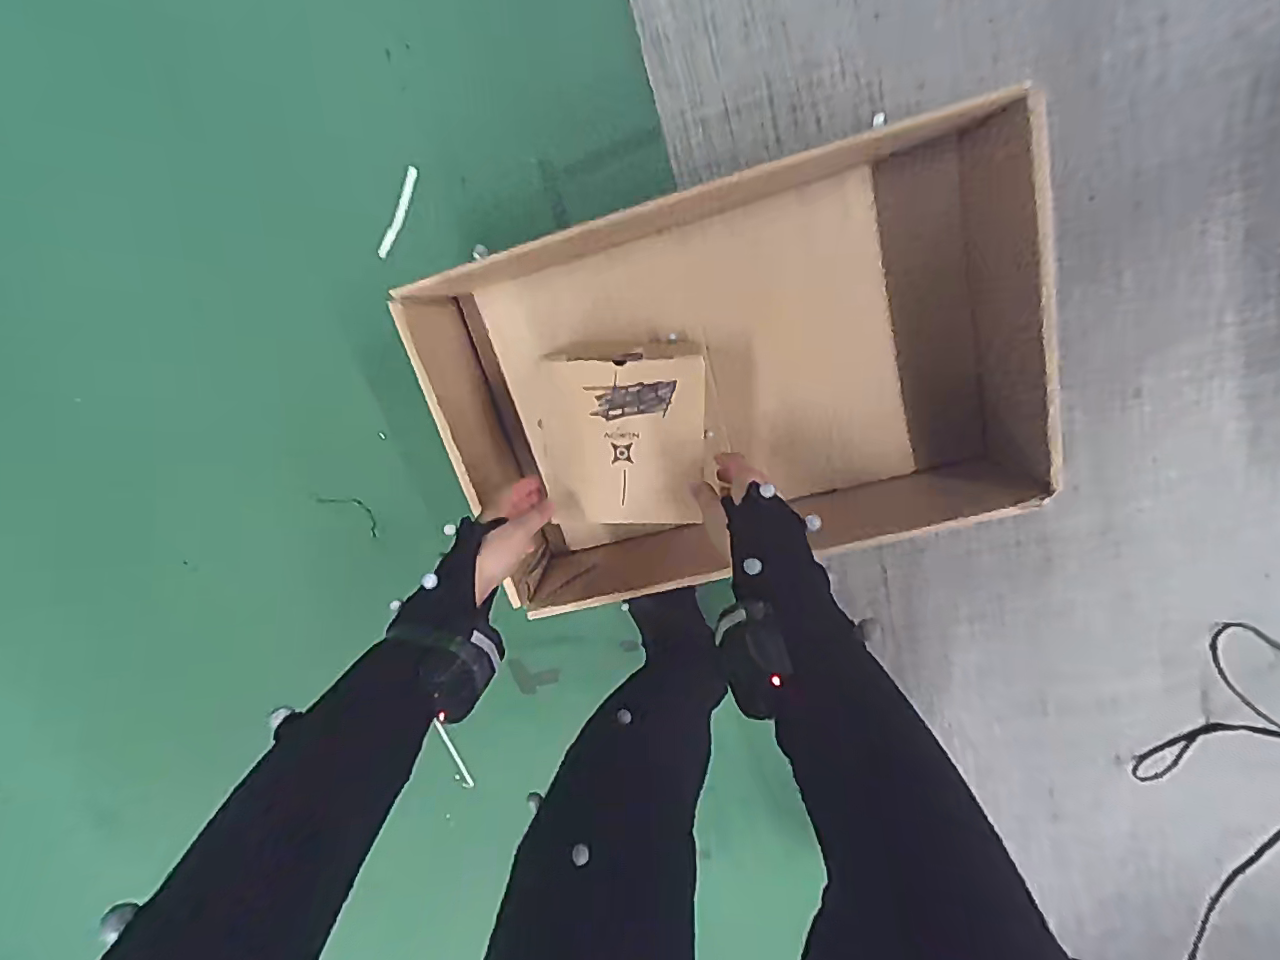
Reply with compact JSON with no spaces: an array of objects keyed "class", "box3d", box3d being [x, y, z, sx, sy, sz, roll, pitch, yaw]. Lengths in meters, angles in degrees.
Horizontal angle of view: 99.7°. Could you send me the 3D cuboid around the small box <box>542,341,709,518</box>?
[{"class":"small box","box3d":[-0.010,-0.067,0.623,0.168,0.176,0.179,0,109,3]}]
